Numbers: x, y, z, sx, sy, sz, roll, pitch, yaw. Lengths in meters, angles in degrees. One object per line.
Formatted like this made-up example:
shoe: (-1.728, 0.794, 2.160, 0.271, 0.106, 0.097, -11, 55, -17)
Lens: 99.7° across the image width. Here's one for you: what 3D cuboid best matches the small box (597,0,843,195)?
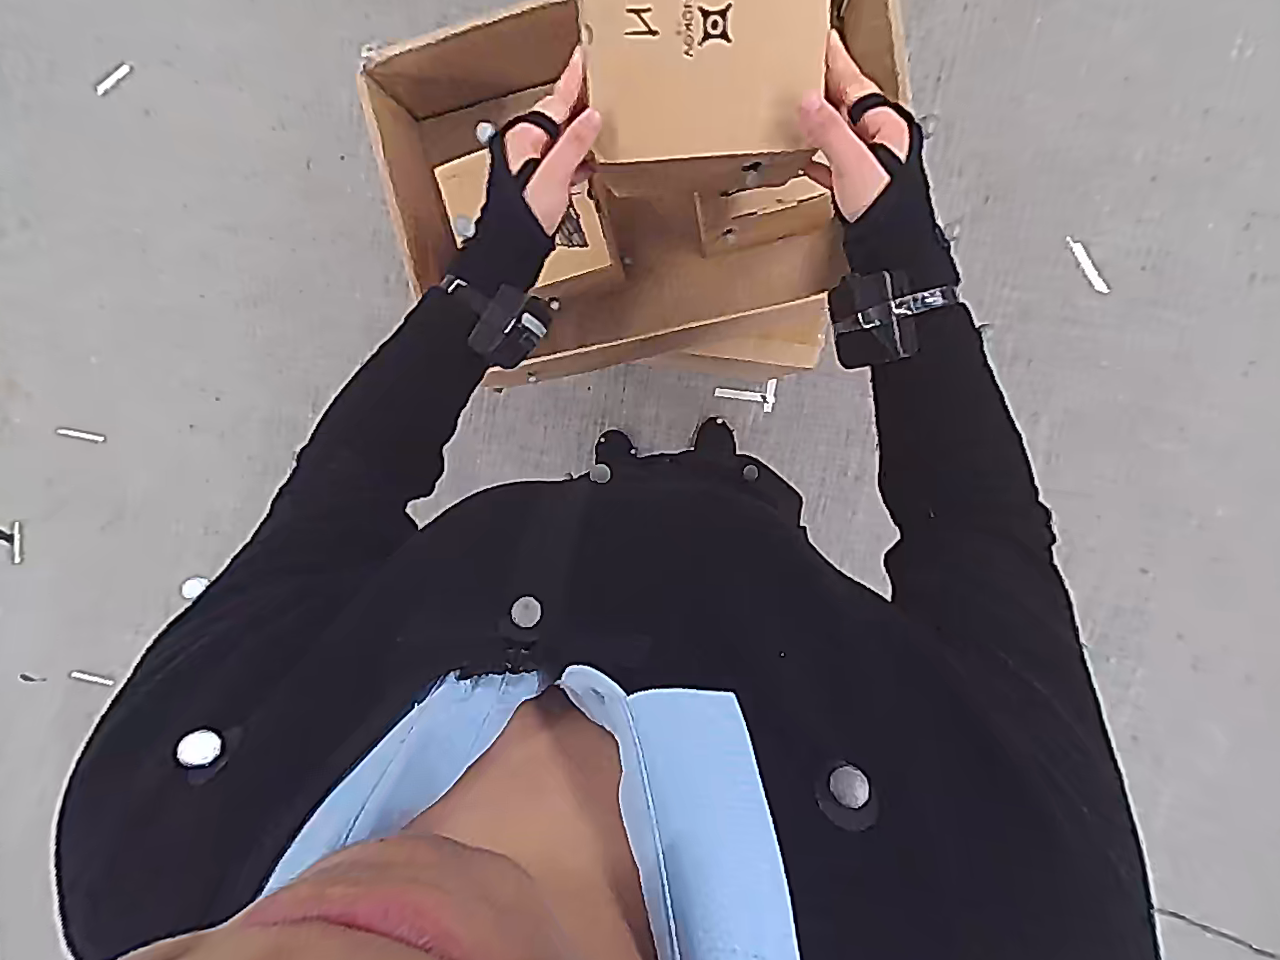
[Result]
small box: (0.062, -0.349, 0.461, 0.179, 0.176, 0.168, 0, 109, 6)
